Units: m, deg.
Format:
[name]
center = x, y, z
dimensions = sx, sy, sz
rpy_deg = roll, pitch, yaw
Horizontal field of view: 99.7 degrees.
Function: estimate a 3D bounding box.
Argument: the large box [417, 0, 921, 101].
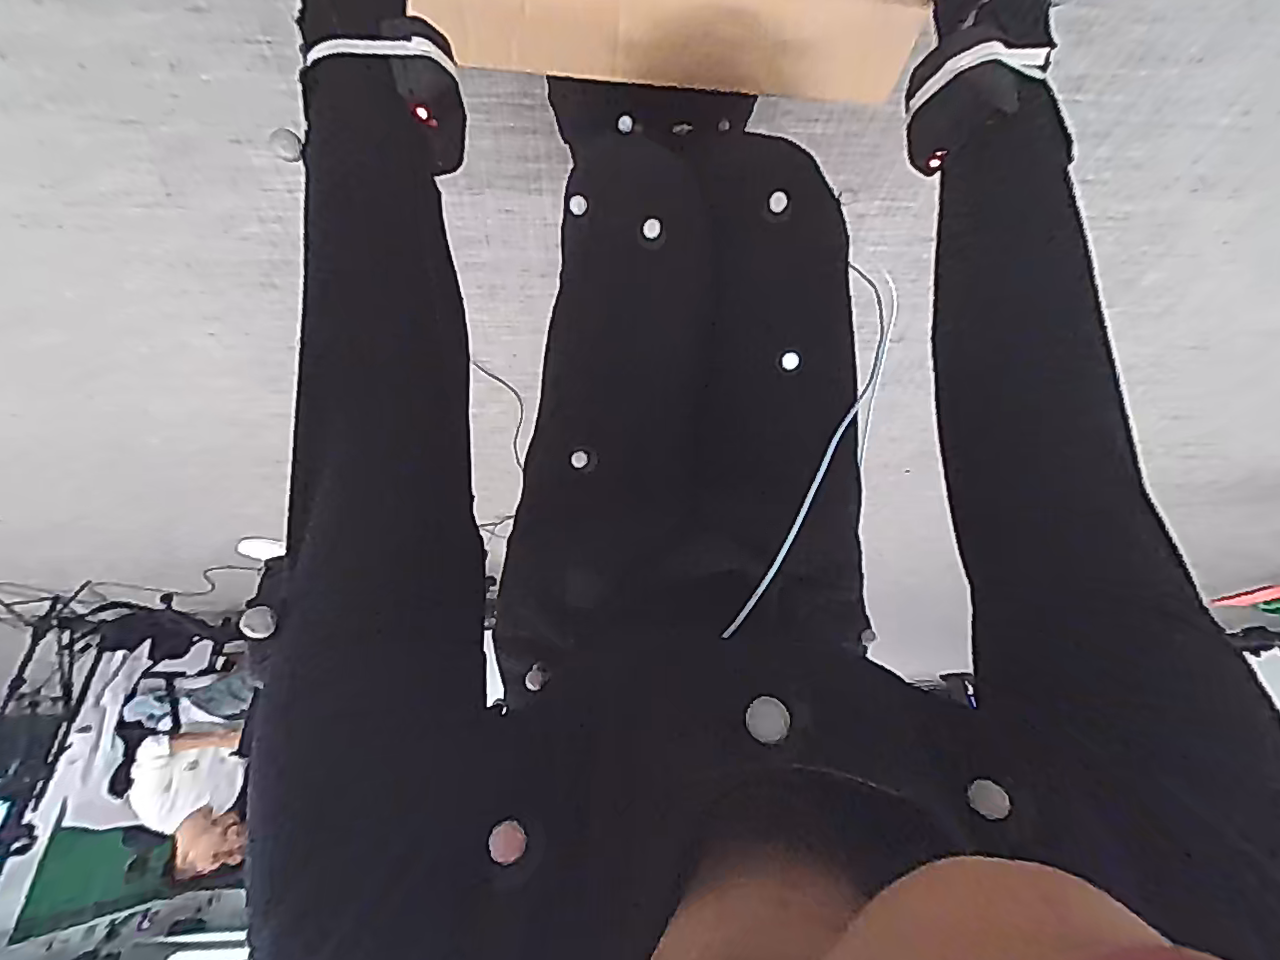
[large box]
center = 0.026, -0.548, 0.412
dimensions = 0.408, 0.320, 0.320
rpy_deg = 0, 153, -7
